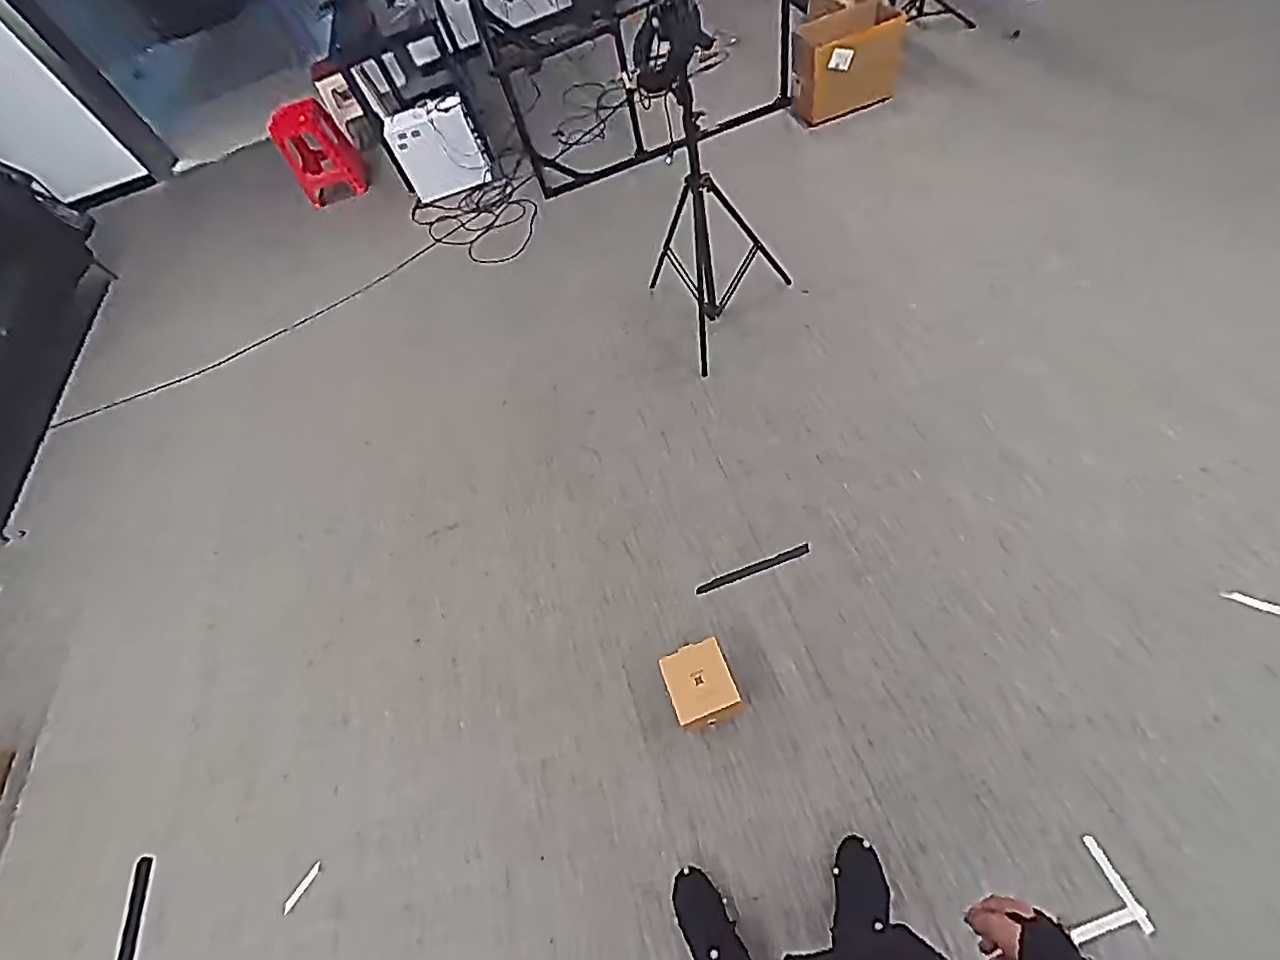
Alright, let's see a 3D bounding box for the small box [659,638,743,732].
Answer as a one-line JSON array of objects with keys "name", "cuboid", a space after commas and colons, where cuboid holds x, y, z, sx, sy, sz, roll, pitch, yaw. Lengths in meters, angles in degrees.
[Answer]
[{"name": "small box", "cuboid": [0.166, 0.553, 1.449, 0.168, 0.176, 0.179, -23, 57, 0]}]
